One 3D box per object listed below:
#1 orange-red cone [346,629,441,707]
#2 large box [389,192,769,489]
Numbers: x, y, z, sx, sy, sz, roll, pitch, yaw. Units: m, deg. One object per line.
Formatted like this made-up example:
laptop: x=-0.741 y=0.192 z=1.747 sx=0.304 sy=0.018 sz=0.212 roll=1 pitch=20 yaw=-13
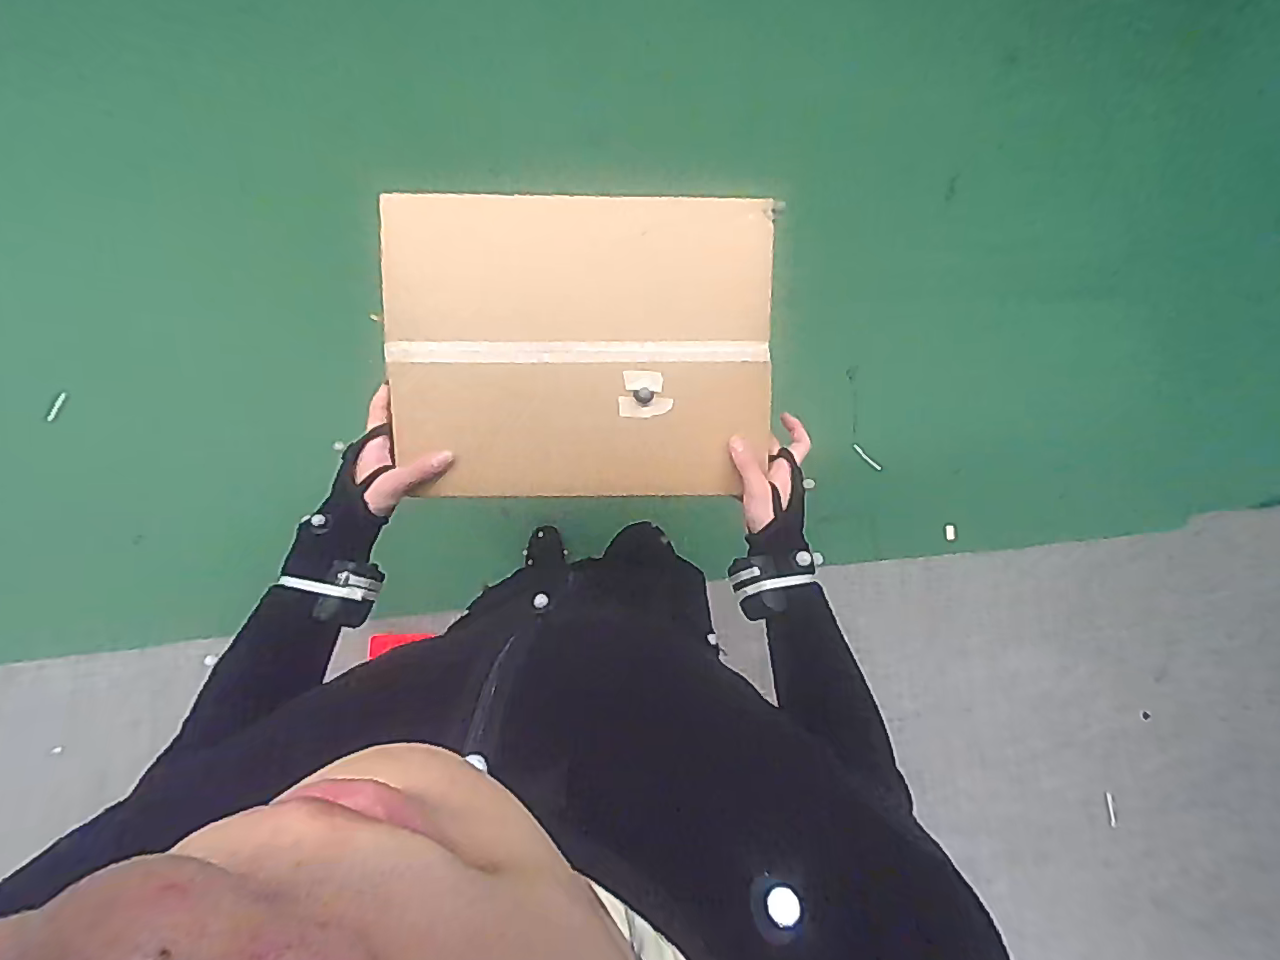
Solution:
orange-red cone: x=-0.656 y=0.507 z=1.368 sx=0.199 sy=0.360 sz=0.198 roll=3 pitch=83 yaw=-6
large box: x=-0.068 y=-0.165 z=0.730 sx=0.408 sy=0.320 sz=0.320 roll=0 pitch=98 yaw=-3
